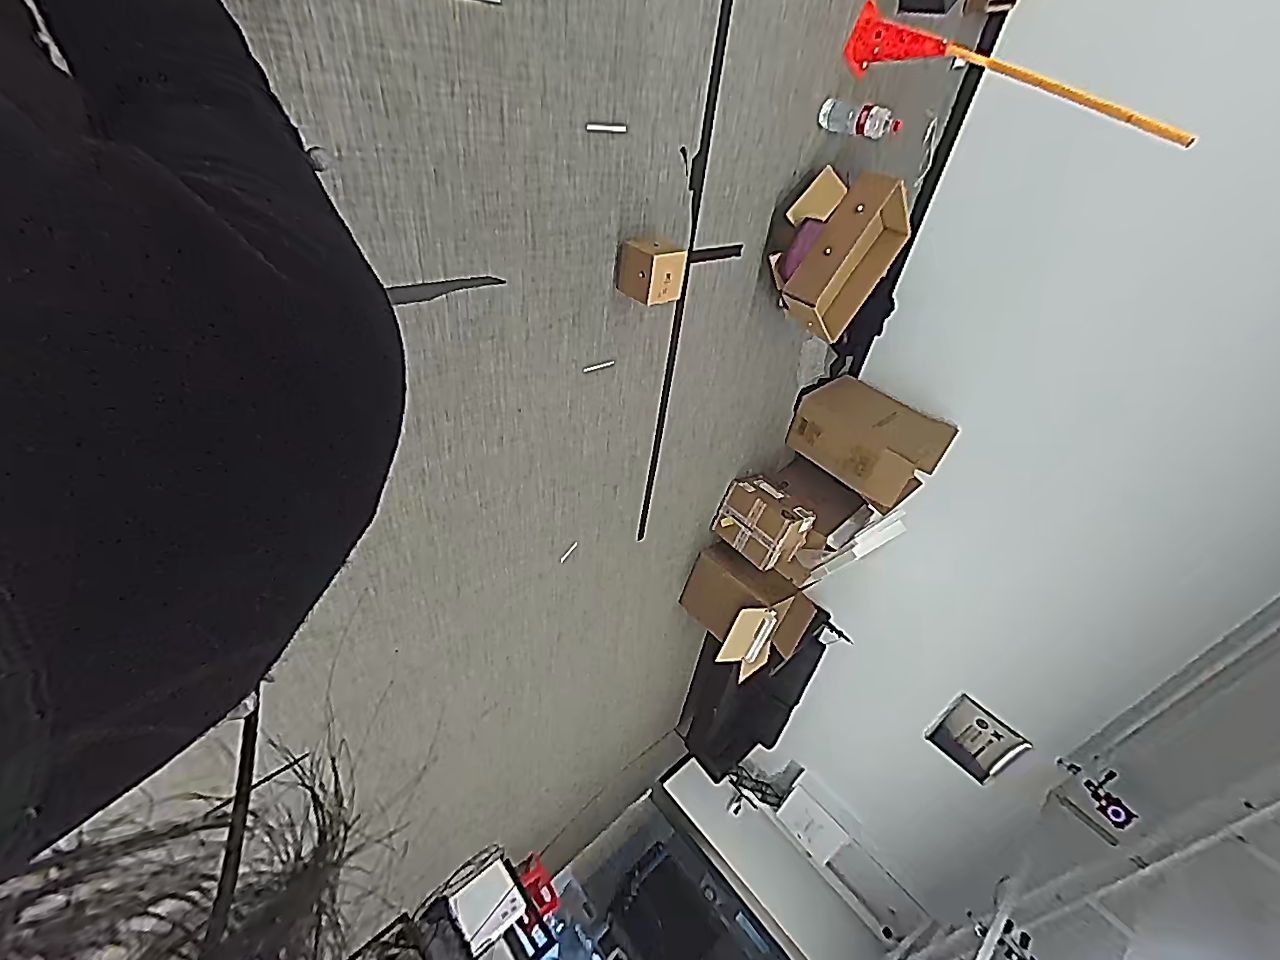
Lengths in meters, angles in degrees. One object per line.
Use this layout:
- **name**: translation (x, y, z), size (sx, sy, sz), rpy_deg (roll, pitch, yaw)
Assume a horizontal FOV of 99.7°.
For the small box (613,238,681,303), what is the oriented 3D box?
- **small box**: translation (0.019, -0.756, 1.933), size (0.168, 0.176, 0.179), rpy_deg (-24, 140, -35)
